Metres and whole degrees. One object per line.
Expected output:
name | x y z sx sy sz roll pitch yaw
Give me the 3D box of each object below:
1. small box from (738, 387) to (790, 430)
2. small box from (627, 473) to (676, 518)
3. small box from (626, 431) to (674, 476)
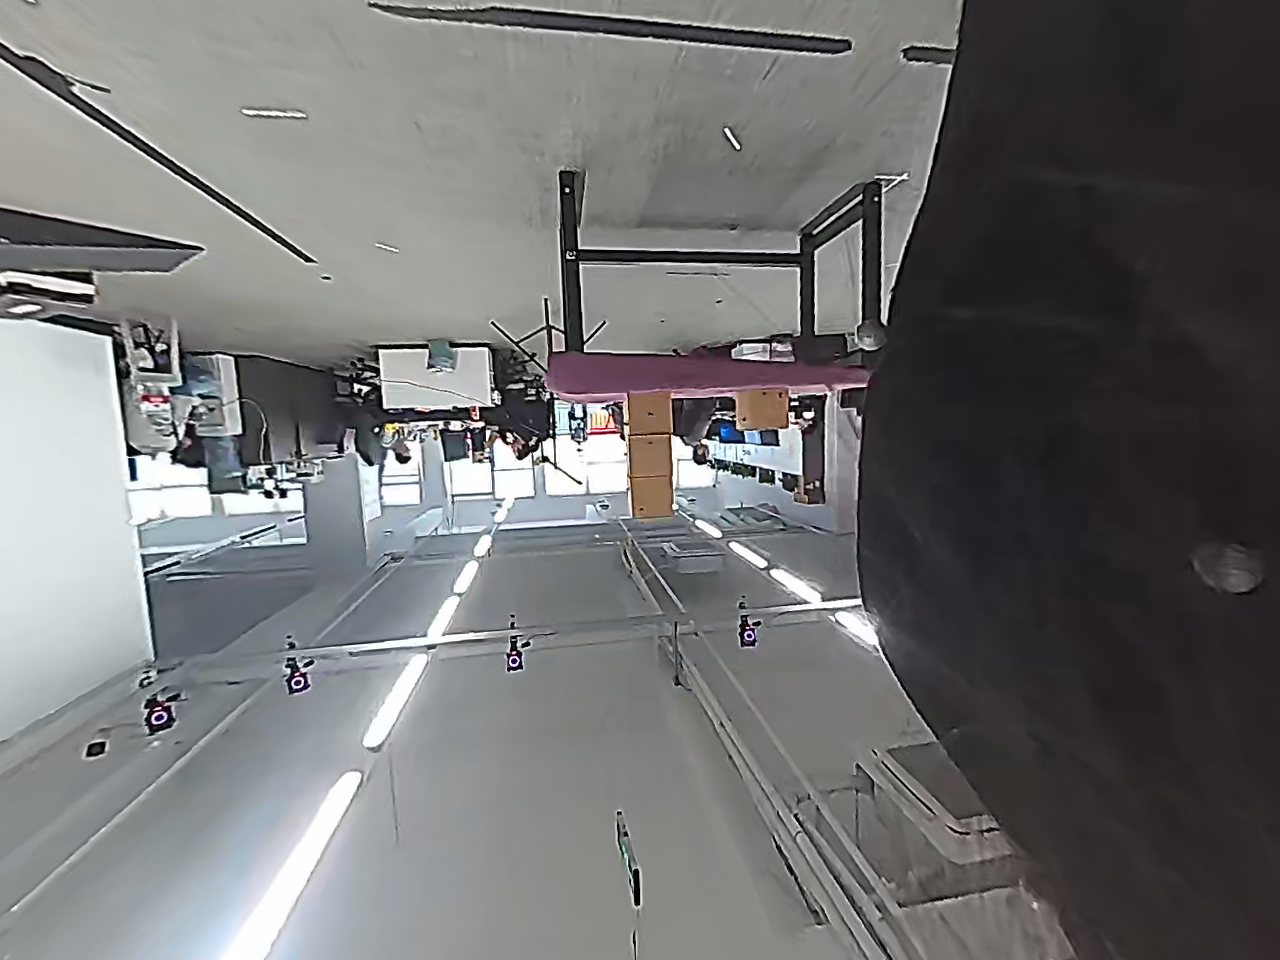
small box | 0.509 -0.299 2.248 0.168 0.176 0.179 -3 -173 -9
small box | 0.044 0.053 2.208 0.179 0.176 0.168 -3 -174 -5
small box | 0.037 -0.108 2.182 0.179 0.176 0.168 -3 -173 -5
